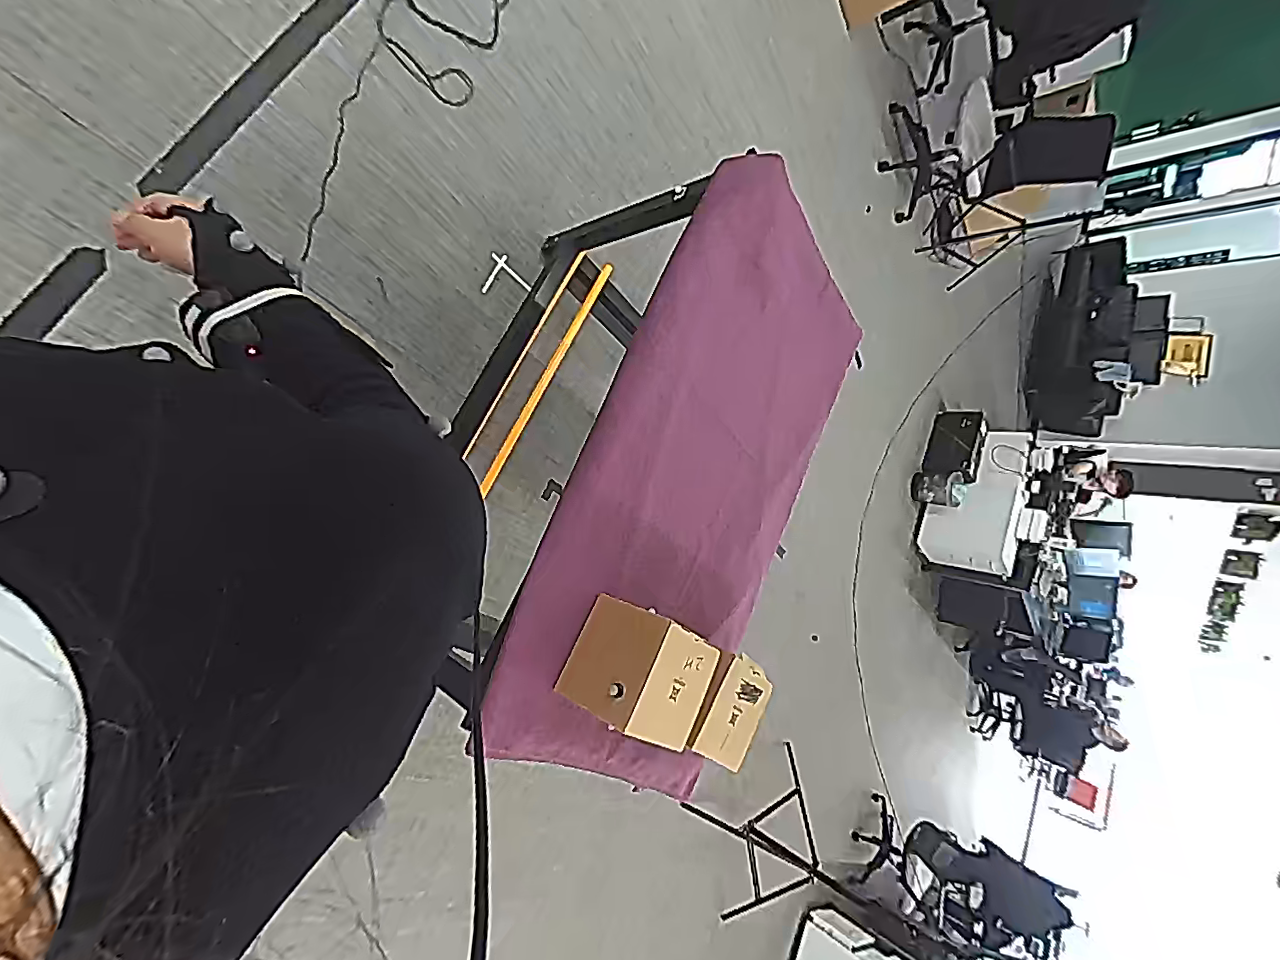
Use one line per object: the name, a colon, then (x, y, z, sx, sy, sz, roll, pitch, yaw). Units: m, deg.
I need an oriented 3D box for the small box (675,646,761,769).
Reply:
small box: (0.100, 0.414, 1.041, 0.168, 0.176, 0.179, 46, 65, -37)

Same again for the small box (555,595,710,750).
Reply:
small box: (-0.016, 0.317, 0.908, 0.168, 0.176, 0.179, 43, 65, -42)
